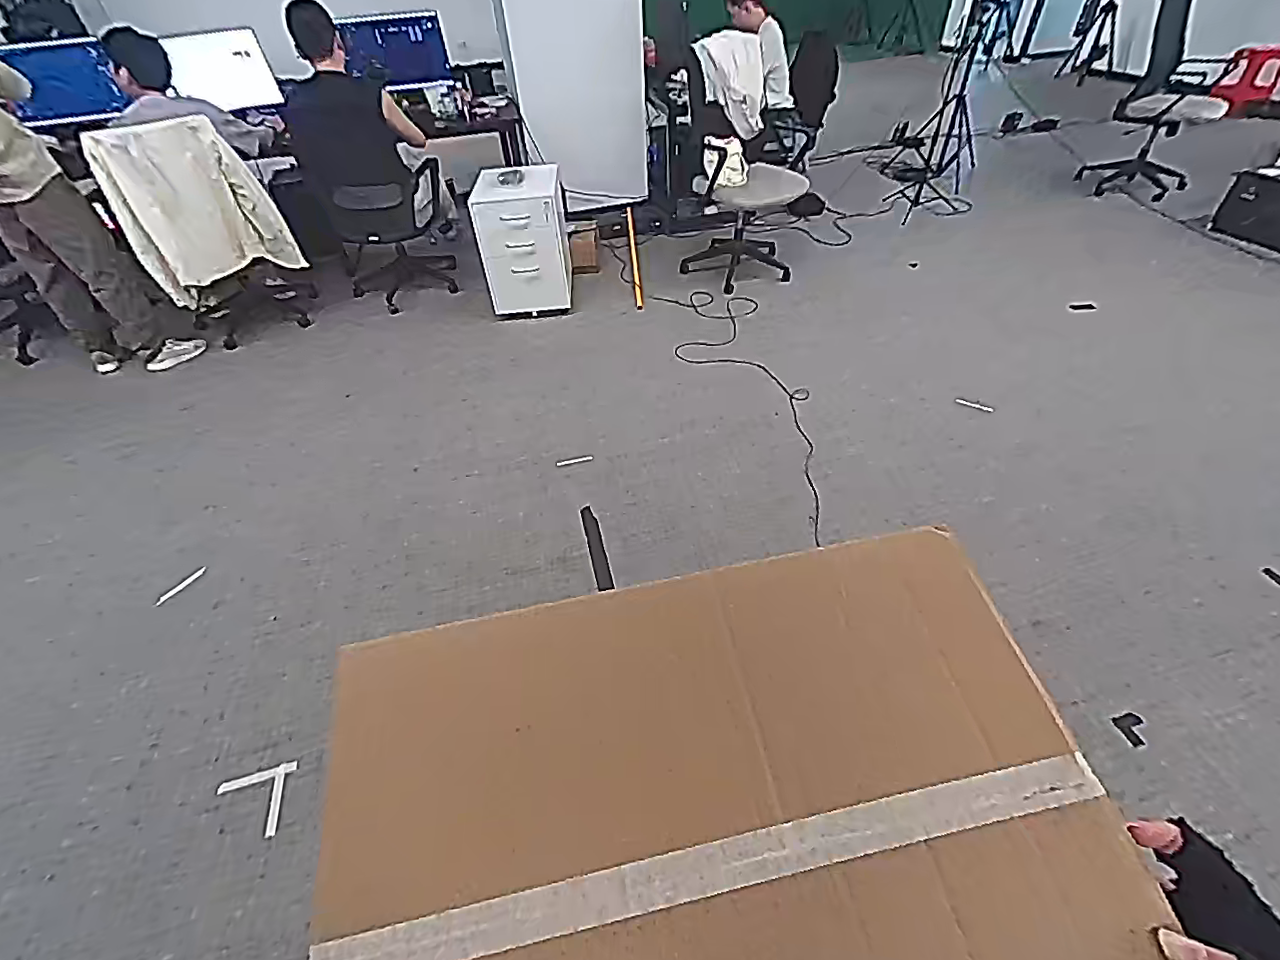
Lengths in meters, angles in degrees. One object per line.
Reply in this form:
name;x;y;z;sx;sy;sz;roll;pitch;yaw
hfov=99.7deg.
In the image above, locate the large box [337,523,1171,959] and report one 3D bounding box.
large box;0.045;0.274;0.414;0.408;0.320;0.320;-11;59;-4
